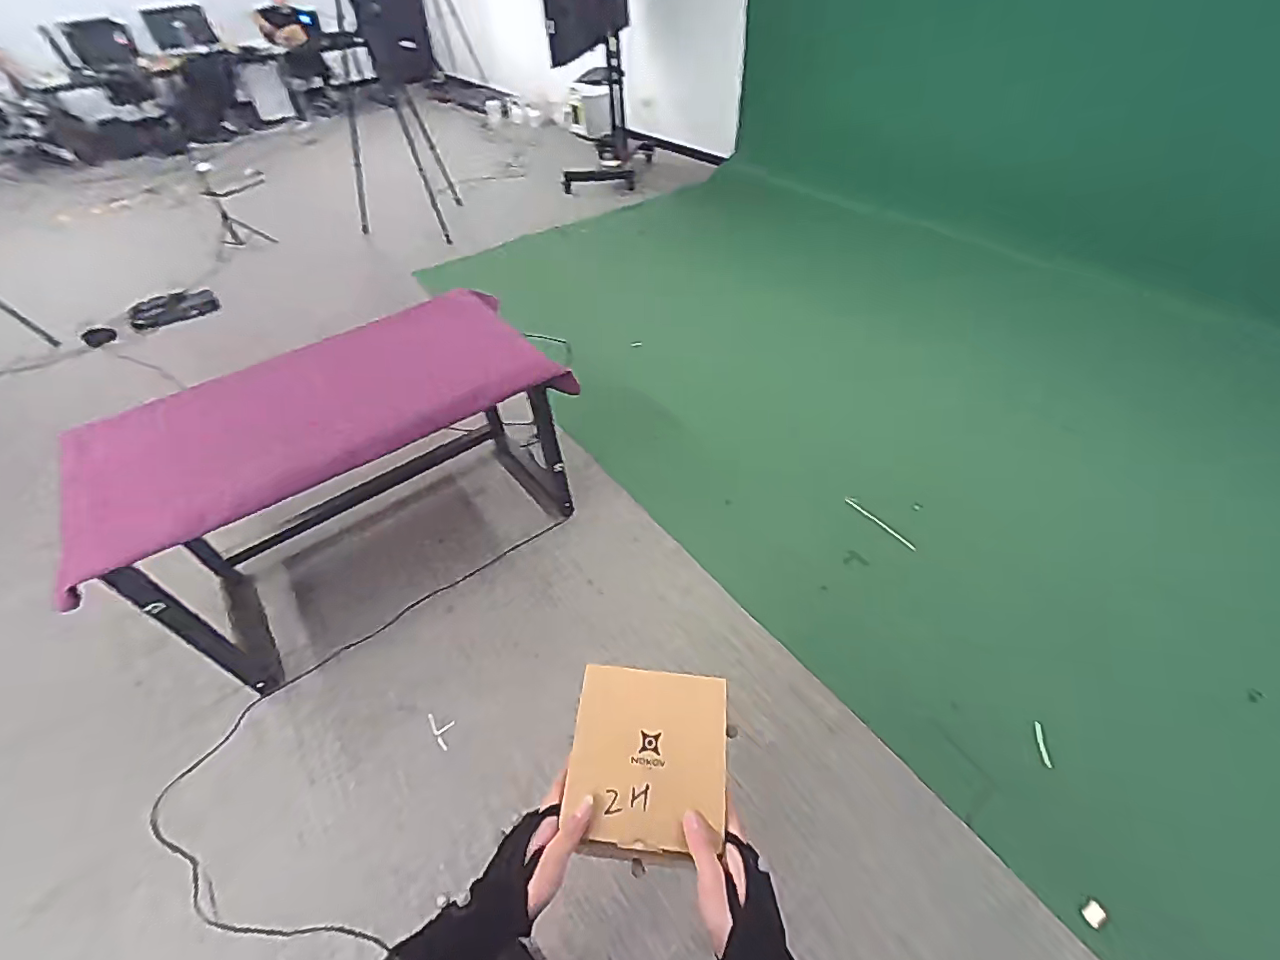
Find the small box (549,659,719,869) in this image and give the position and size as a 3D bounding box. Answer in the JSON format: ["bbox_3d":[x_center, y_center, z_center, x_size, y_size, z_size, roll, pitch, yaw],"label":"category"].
[{"bbox_3d":[0.000,0.335,0.637,0.168,0.176,0.179,5,51,4],"label":"small box"}]
